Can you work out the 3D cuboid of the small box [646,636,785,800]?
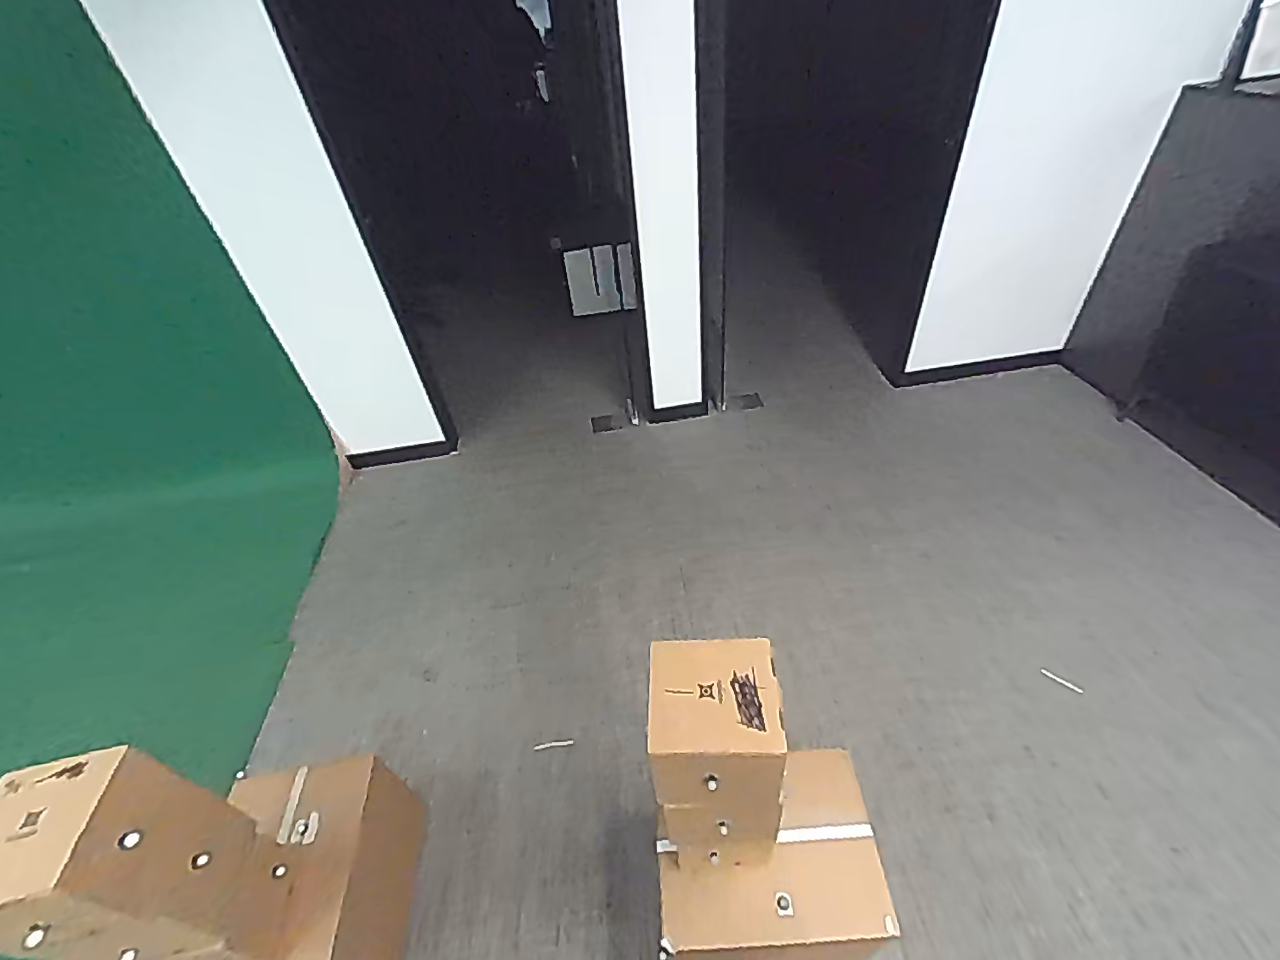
[{"bbox_3d":[0.105,0.345,0.784,0.179,0.176,0.168,-3,40,6],"label":"small box"}]

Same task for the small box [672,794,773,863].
[{"bbox_3d":[0.145,0.589,1.002,0.168,0.176,0.179,-5,40,2],"label":"small box"}]

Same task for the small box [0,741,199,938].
[{"bbox_3d":[-0.762,0.493,0.738,0.168,0.176,0.179,-11,42,-5],"label":"small box"}]

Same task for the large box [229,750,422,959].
[{"bbox_3d":[-0.702,0.875,1.166,0.320,0.320,0.408,-9,41,-3],"label":"large box"}]

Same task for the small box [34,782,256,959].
[{"bbox_3d":[-0.748,0.615,0.848,0.168,0.176,0.179,-12,41,-7],"label":"small box"}]

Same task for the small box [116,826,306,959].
[{"bbox_3d":[-0.732,0.742,0.951,0.179,0.176,0.168,-11,41,-3],"label":"small box"}]
